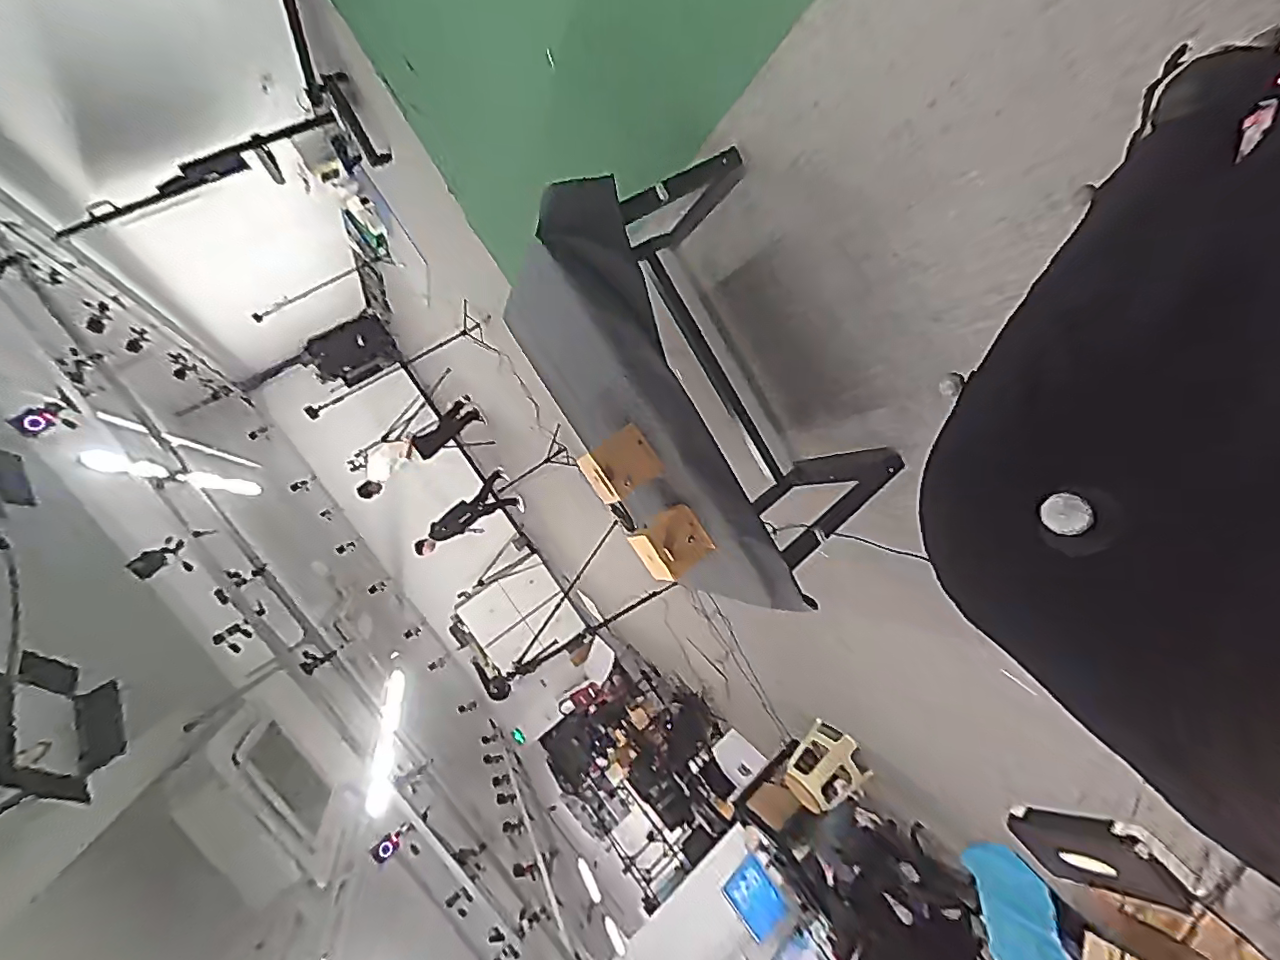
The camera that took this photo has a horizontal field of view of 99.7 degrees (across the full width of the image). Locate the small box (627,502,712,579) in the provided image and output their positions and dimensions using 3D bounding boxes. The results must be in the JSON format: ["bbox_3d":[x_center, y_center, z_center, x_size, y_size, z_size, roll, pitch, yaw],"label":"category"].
[{"bbox_3d":[0.090,0.184,1.661,0.168,0.176,0.179,56,159,-4],"label":"small box"}]
